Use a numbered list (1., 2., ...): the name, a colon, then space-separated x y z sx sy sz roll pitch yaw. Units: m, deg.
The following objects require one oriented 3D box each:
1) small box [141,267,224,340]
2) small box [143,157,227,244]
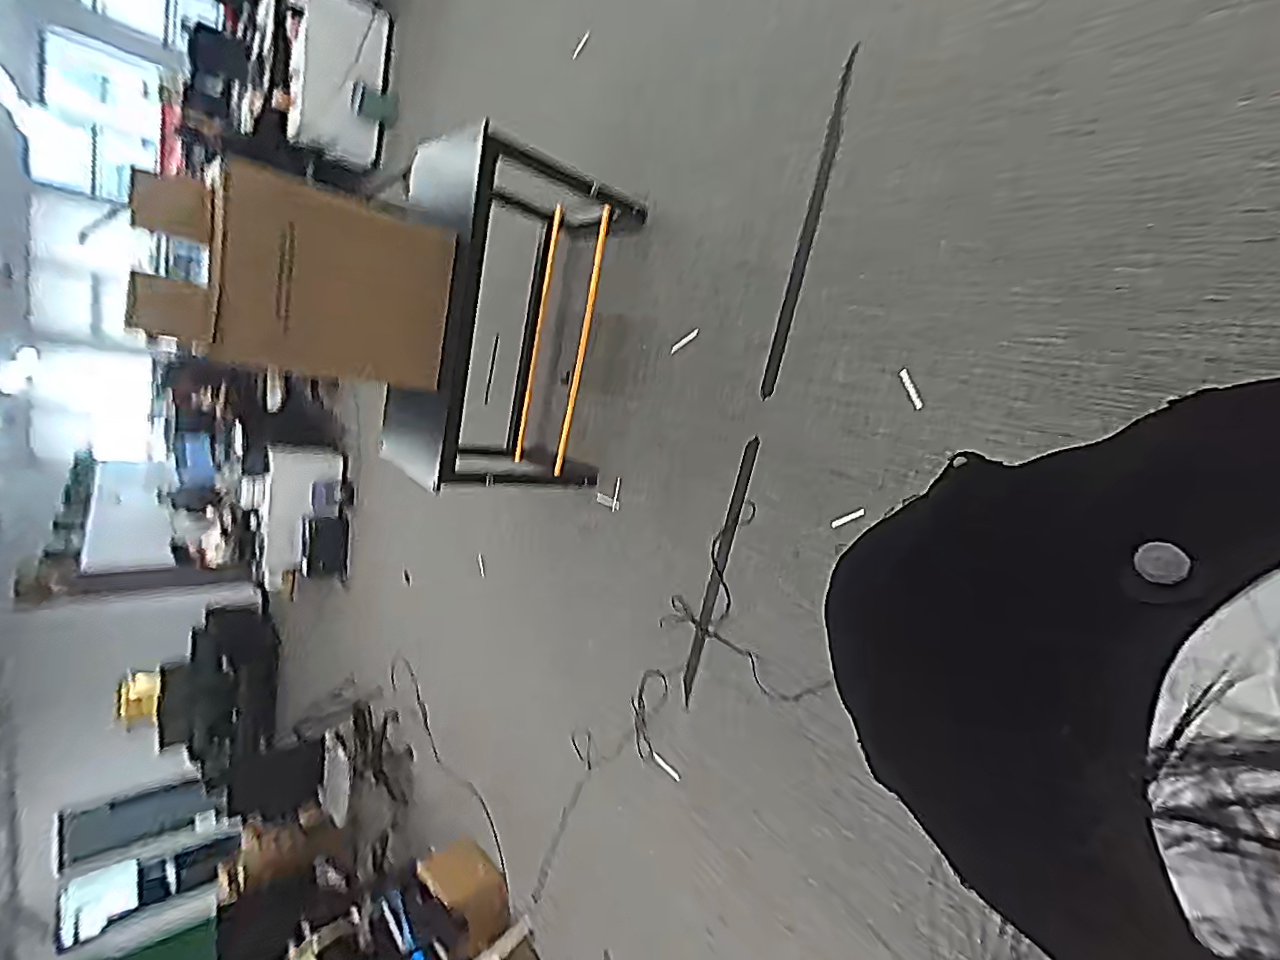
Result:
1. small box: -1.331 -0.510 1.573 0.179 0.176 0.168 21 104 45
2. small box: -1.272 -0.770 1.512 0.179 0.176 0.168 21 105 46
